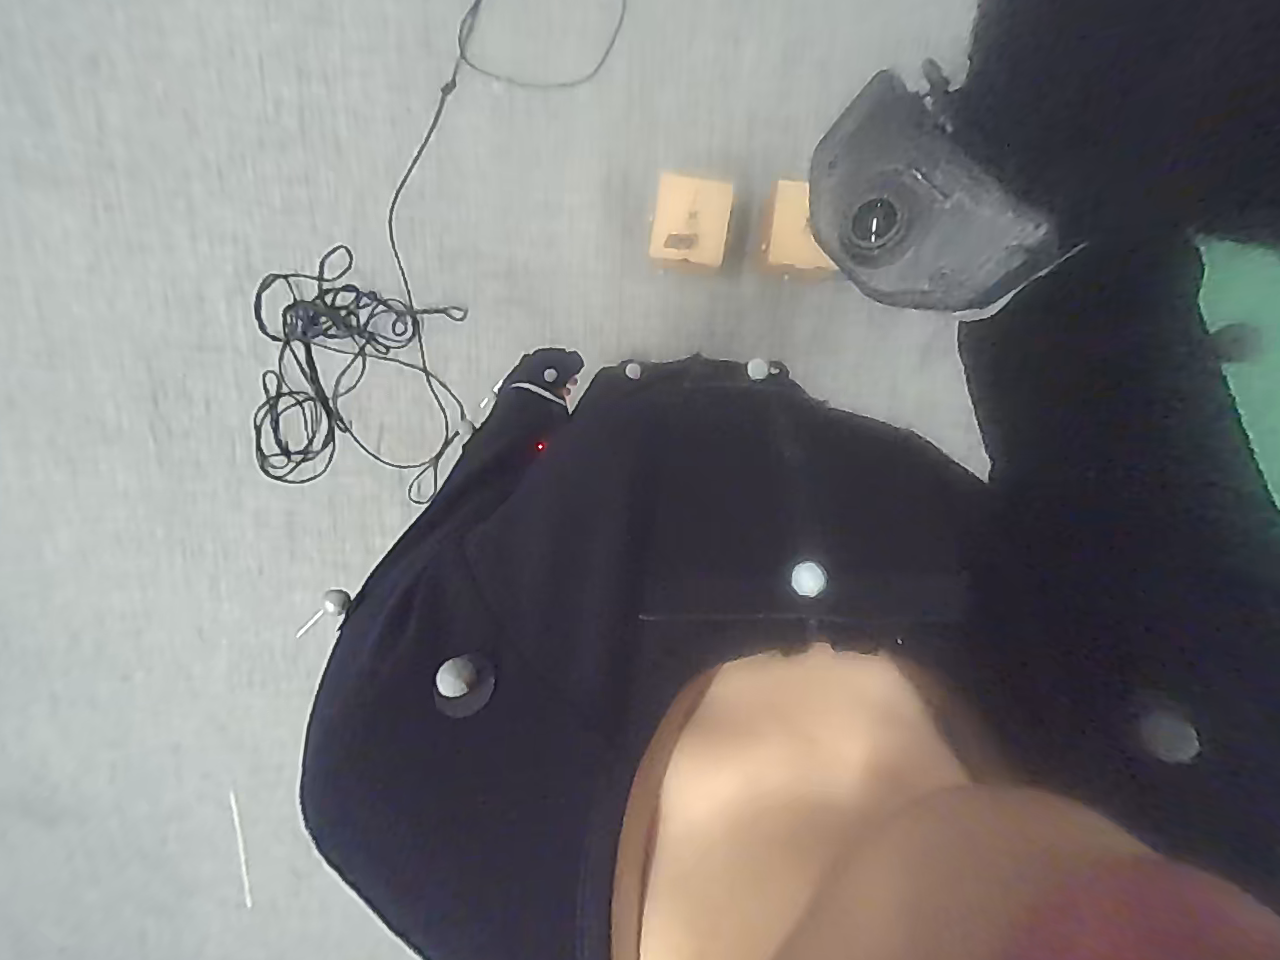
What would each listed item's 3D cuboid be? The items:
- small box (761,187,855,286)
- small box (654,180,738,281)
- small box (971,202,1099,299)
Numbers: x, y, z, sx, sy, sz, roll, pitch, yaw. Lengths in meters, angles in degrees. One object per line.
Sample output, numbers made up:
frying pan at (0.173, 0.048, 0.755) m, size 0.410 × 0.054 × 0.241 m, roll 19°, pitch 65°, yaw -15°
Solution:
small box at (0.390, -0.571, 1.284) m, size 0.168 × 0.176 × 0.179 m, roll 5°, pitch 102°, yaw 2°
small box at (0.128, -0.583, 1.289) m, size 0.168 × 0.176 × 0.179 m, roll 9°, pitch 102°, yaw 0°
small box at (0.918, -0.534, 1.276) m, size 0.168 × 0.176 × 0.179 m, roll 5°, pitch 103°, yaw 1°
